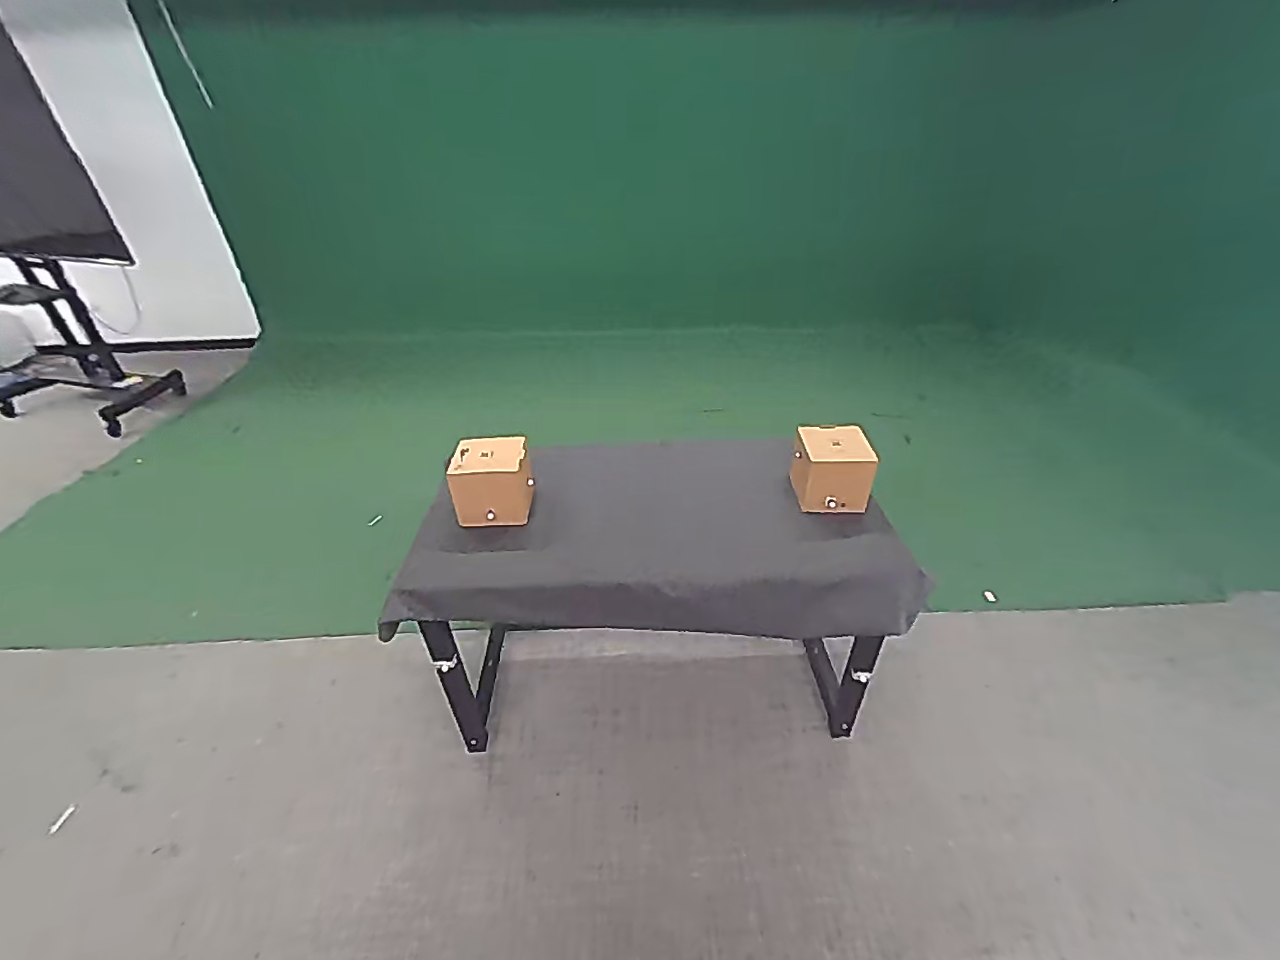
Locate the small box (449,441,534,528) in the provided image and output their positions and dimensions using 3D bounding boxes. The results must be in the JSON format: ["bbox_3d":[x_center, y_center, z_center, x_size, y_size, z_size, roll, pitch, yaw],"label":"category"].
[{"bbox_3d":[-0.381,0.013,1.422,0.179,0.176,0.168,-2,35,-2],"label":"small box"}]

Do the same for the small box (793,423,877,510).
[{"bbox_3d":[0.506,-0.038,1.431,0.168,0.176,0.179,-1,35,5],"label":"small box"}]
